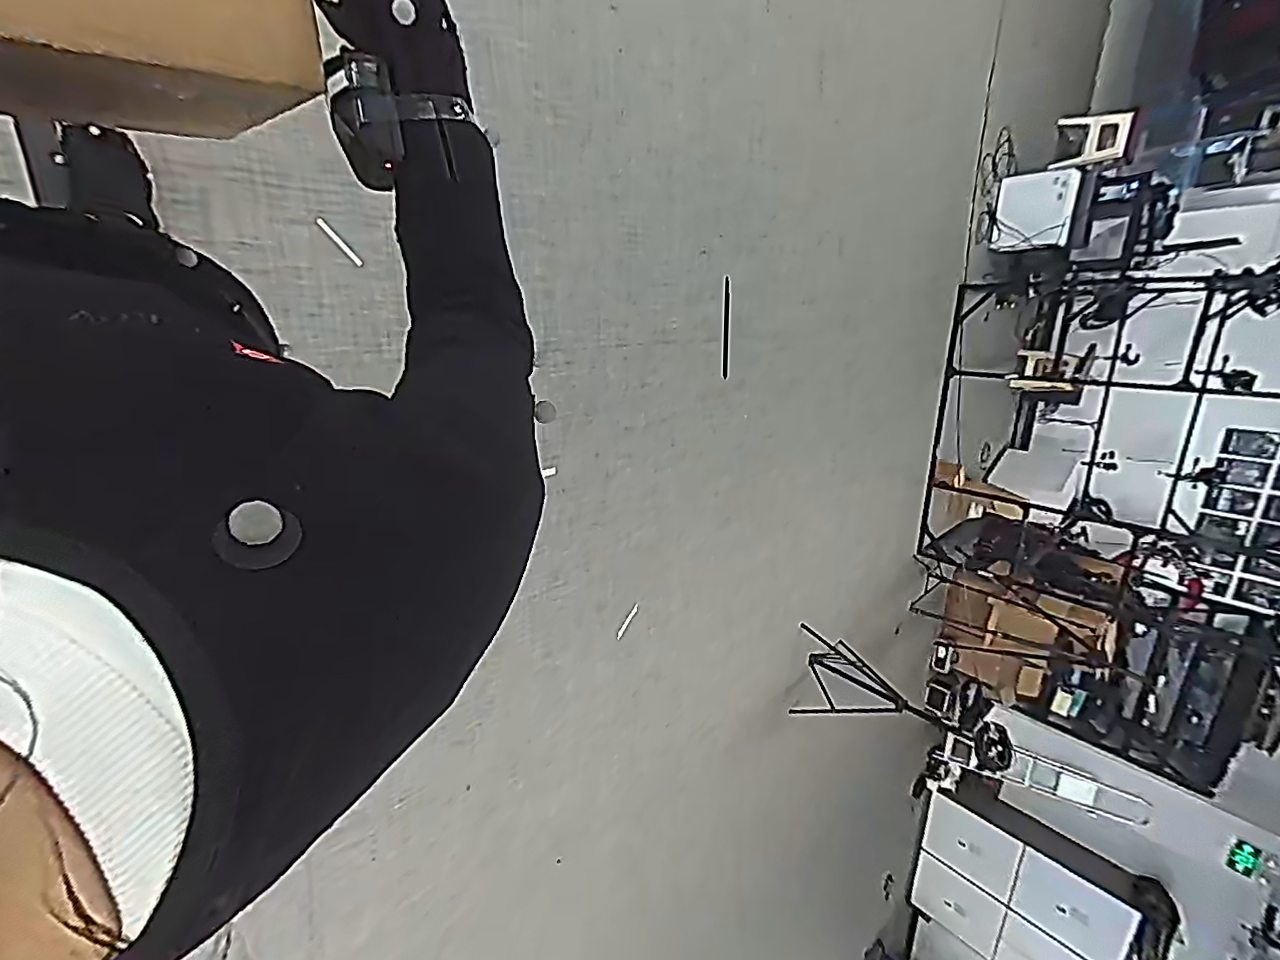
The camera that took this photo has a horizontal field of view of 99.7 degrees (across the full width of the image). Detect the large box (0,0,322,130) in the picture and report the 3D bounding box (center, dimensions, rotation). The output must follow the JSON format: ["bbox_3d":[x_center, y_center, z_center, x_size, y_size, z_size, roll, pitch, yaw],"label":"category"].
[{"bbox_3d":[-0.446,-0.378,0.251,0.408,0.320,0.320,-22,125,-40],"label":"large box"}]
